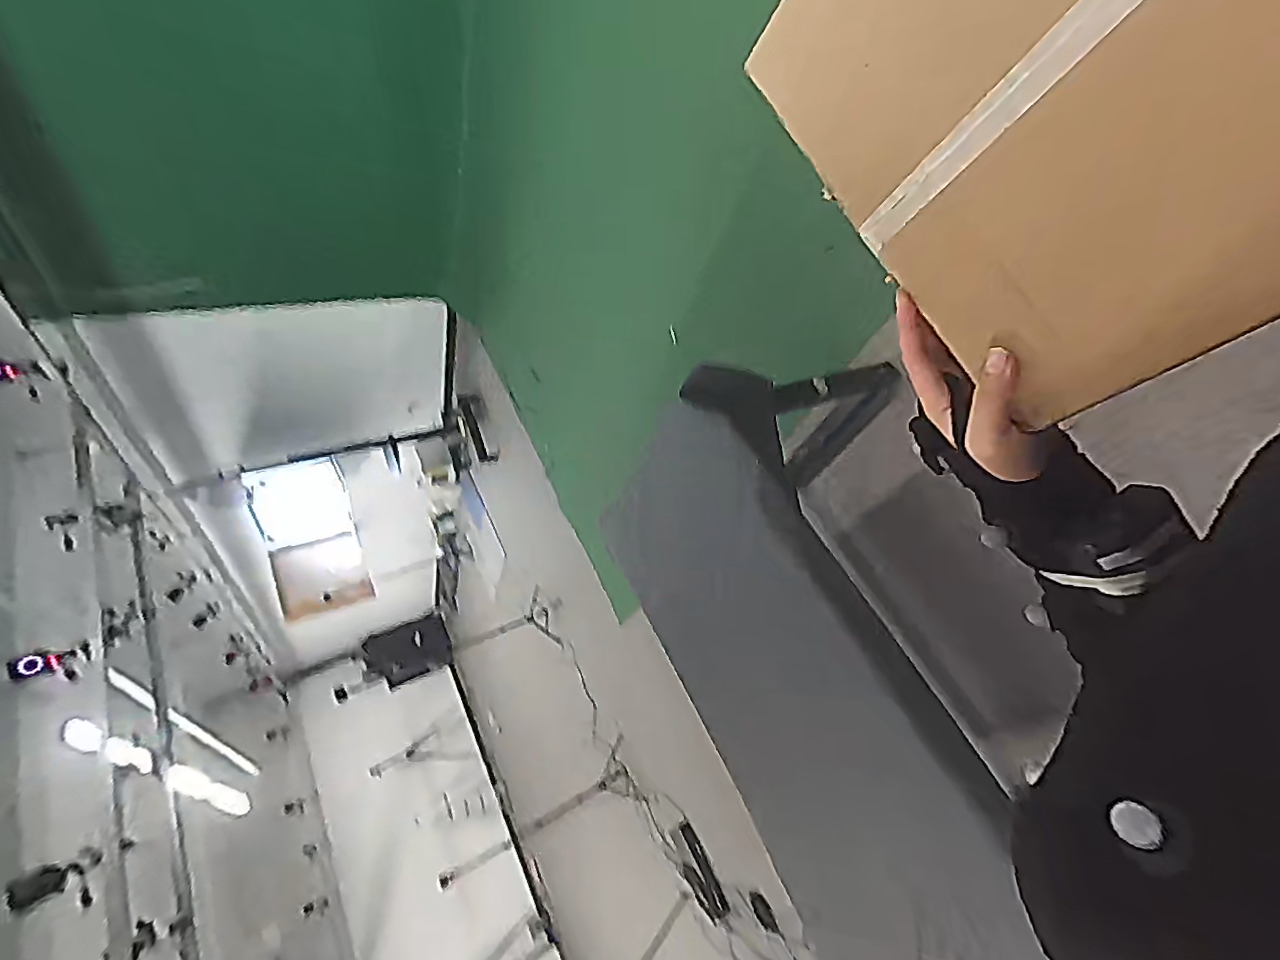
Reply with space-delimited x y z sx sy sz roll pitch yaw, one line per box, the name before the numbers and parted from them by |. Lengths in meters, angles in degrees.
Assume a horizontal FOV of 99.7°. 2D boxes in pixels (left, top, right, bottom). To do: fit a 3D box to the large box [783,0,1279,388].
large box | 0.365 -0.307 0.273 0.320 0.320 0.408 60 143 9
